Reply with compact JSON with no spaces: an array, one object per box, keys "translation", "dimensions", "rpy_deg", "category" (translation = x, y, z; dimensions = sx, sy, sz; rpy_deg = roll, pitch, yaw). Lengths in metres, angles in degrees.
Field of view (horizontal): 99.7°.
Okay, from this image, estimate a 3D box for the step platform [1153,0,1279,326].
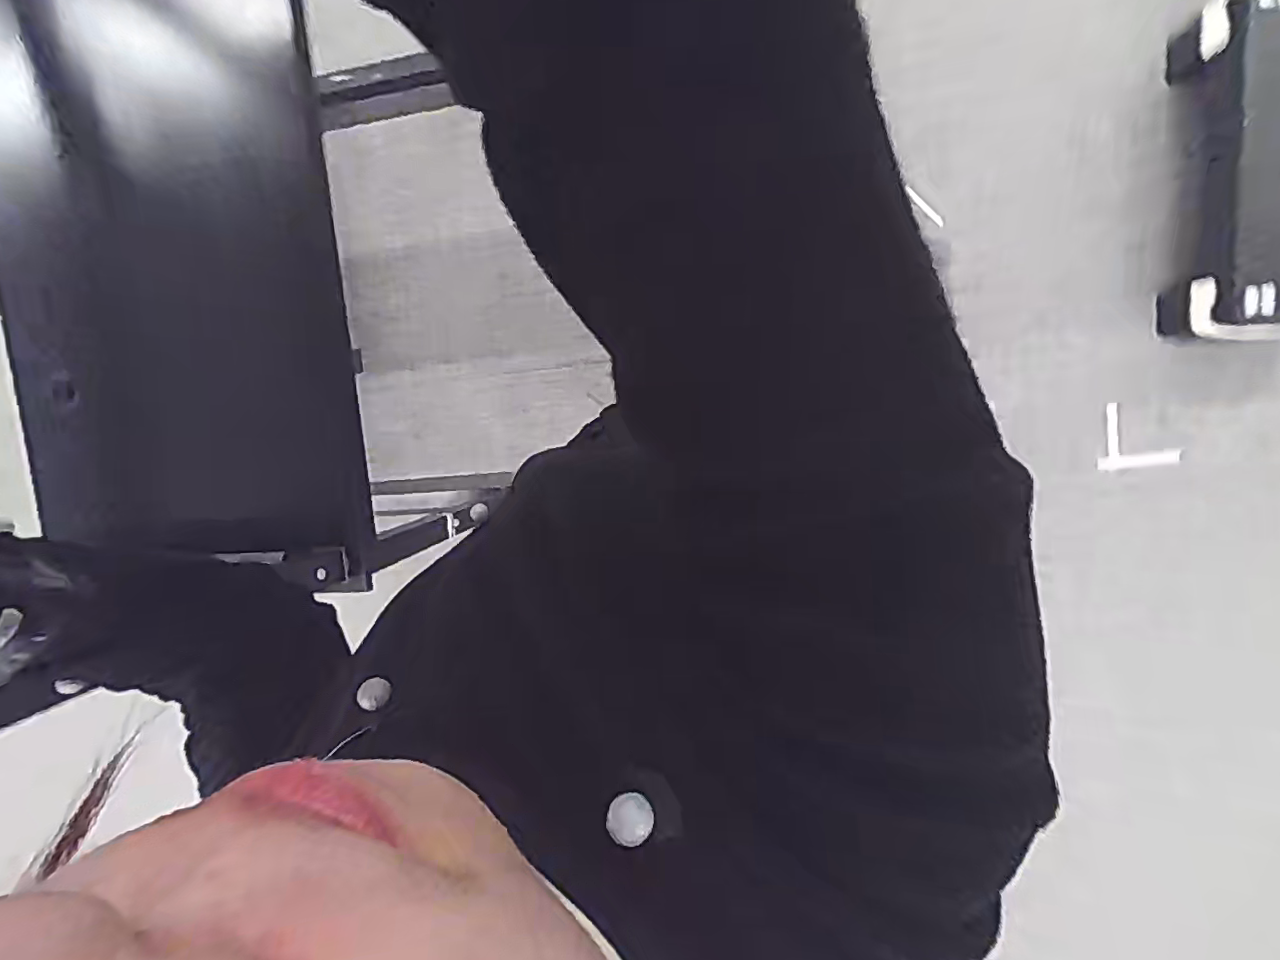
[{"translation":[1.301,-0.675,1.089],"dimensions":[0.286,0.204,0.684],"rpy_deg":[2,96,9],"category":"step platform"}]
